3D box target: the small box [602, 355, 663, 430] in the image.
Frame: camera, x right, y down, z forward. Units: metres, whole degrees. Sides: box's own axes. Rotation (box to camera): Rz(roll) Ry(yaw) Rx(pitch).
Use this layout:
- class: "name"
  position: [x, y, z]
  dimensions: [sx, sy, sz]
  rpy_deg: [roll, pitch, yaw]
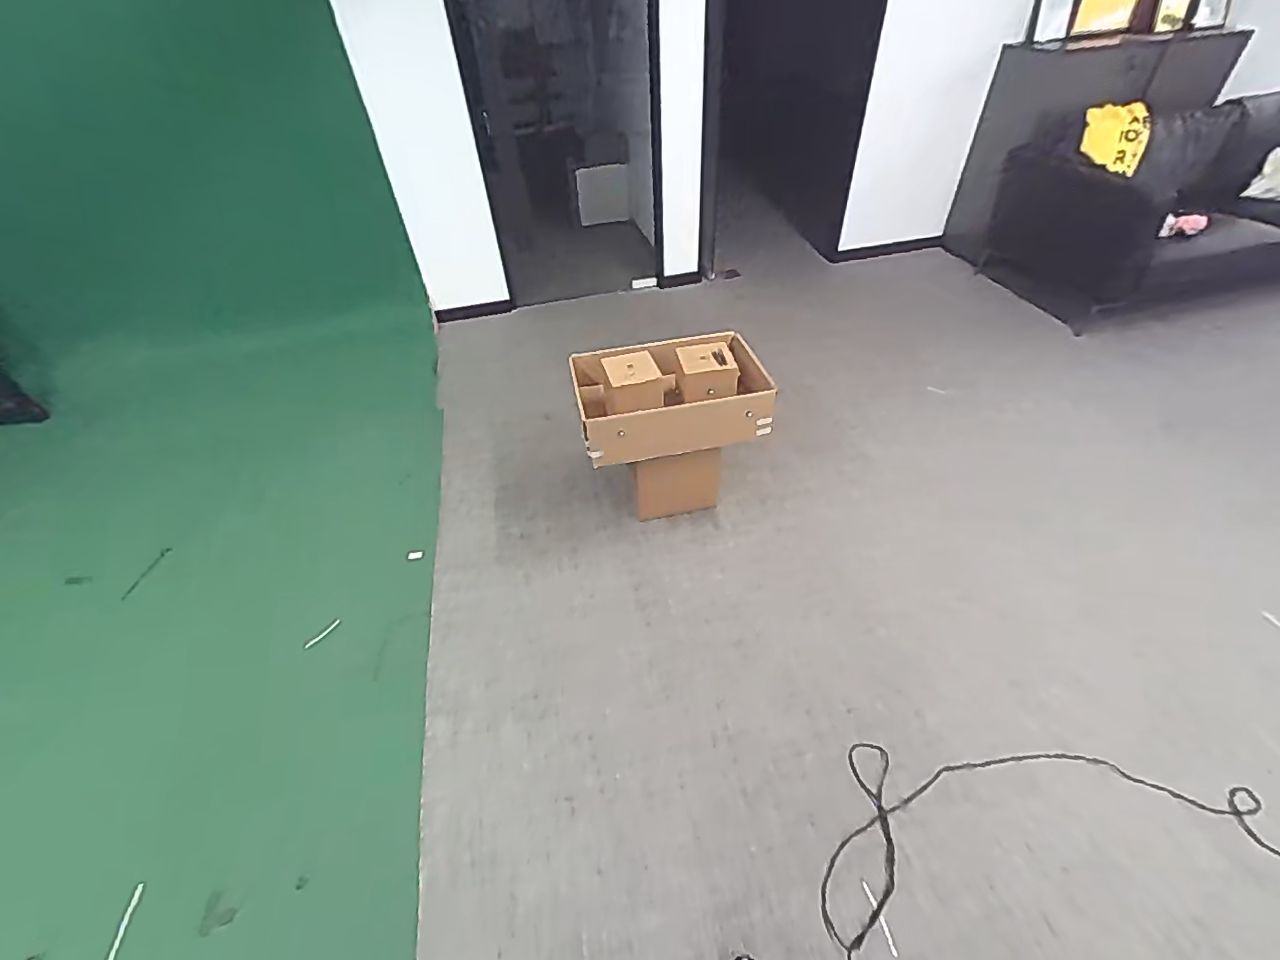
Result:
- class: "small box"
  position: [-0.026, -0.290, 1.801]
  dimensions: [0.168, 0.176, 0.179]
  rpy_deg: [-12, 44, -10]
